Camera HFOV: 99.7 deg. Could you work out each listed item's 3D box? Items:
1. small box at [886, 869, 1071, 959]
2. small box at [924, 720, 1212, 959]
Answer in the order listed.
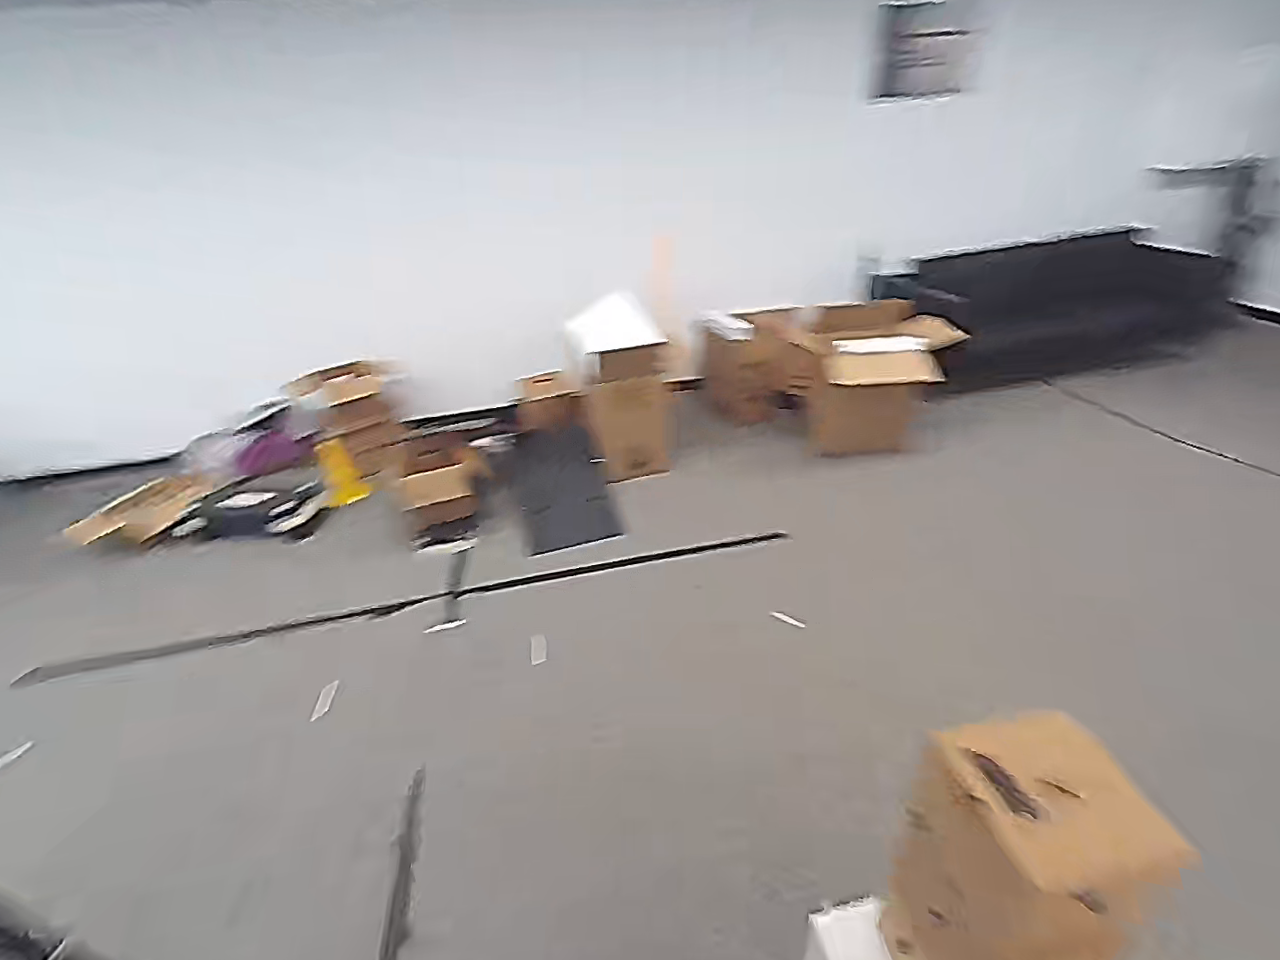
[{"bbox_3d":[0.476,0.685,0.774,0.179,0.176,0.168,-8,33,-7],"label":"small box"},{"bbox_3d":[0.447,0.403,0.606,0.179,0.176,0.168,-6,32,-4],"label":"small box"}]
